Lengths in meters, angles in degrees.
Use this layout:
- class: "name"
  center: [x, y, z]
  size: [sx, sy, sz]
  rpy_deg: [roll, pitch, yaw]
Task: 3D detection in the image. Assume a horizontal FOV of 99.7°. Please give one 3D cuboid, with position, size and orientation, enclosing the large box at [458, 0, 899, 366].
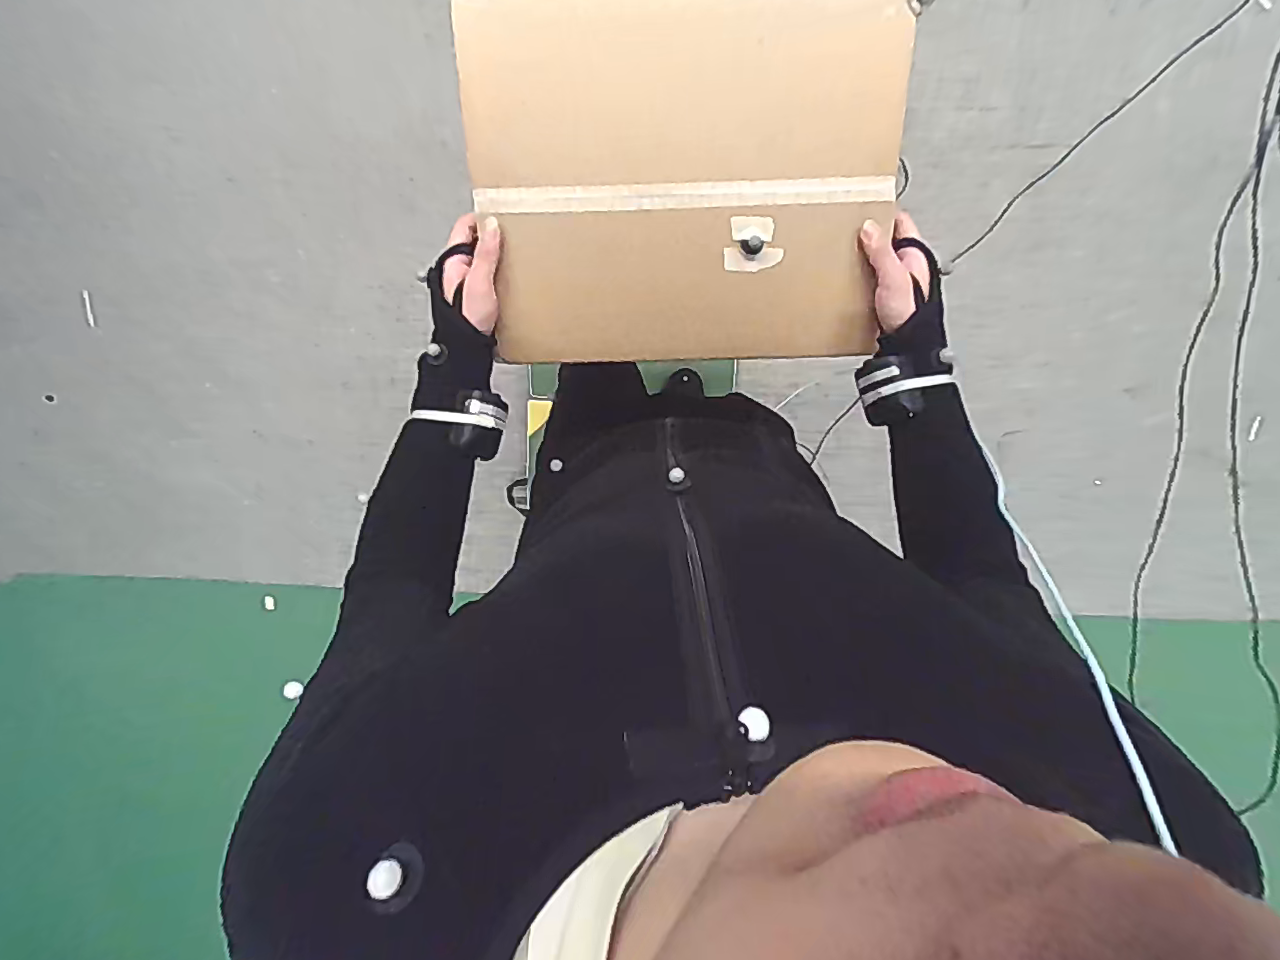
- class: "large box"
  center: [0.036, -0.328, 0.672]
  size: [0.408, 0.320, 0.320]
  rpy_deg: [-2, 111, 0]
